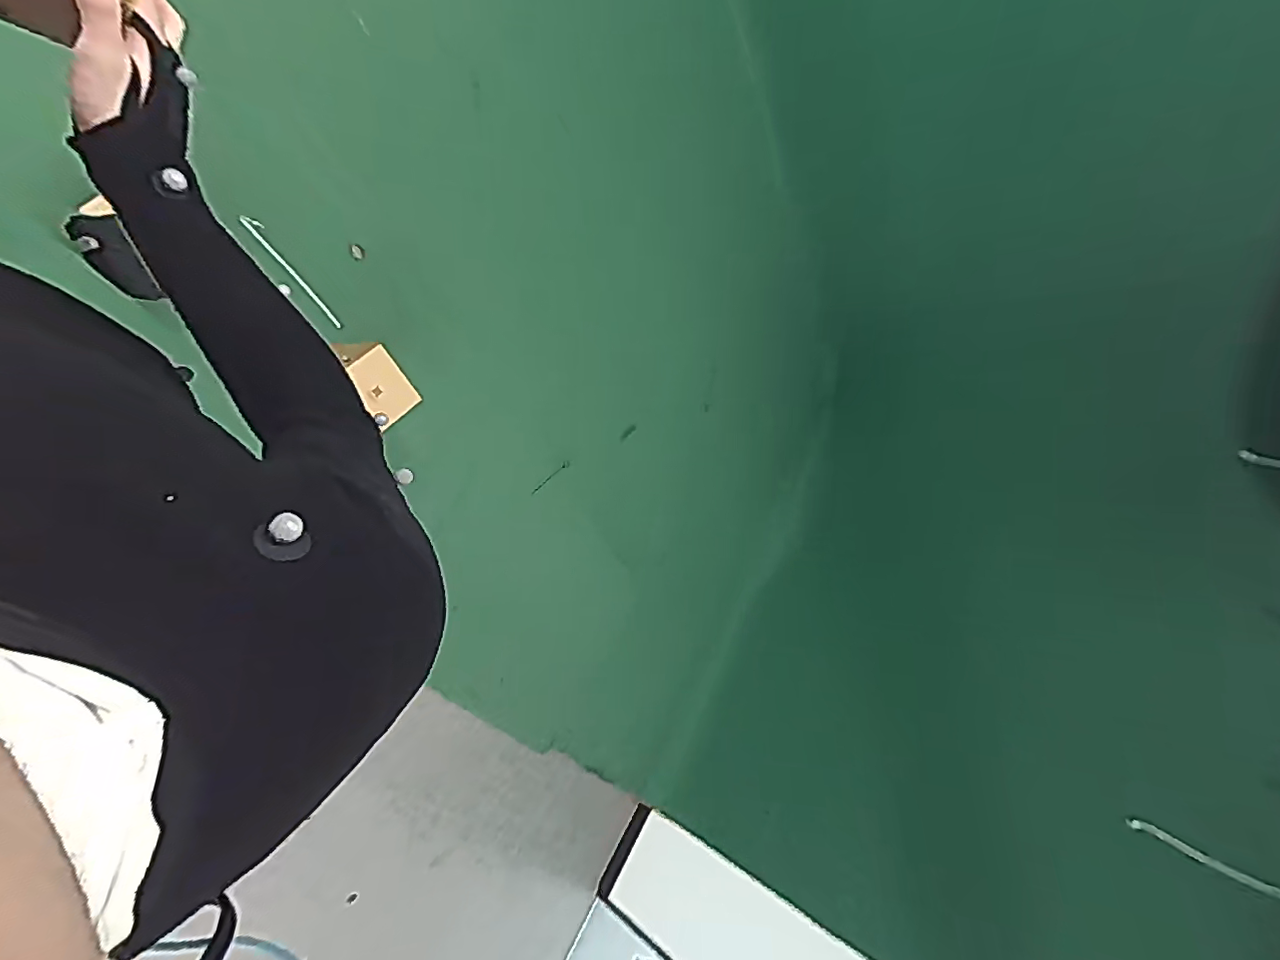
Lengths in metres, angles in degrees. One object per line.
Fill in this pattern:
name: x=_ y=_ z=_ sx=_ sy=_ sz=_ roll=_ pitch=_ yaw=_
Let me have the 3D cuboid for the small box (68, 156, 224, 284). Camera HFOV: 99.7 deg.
small box: x=-1.029 y=-0.531 z=1.128 sx=0.179 sy=0.176 sz=0.168 roll=-58 pitch=136 yaw=-24

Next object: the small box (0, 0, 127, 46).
small box: x=-0.435 y=-0.417 z=0.329 sx=0.168 sy=0.176 sz=0.179 roll=-2 pitch=109 yaw=-50

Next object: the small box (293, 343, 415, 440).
small box: x=-0.702 y=-0.222 z=1.327 sx=0.179 sy=0.176 sz=0.168 roll=-50 pitch=132 yaw=-29
